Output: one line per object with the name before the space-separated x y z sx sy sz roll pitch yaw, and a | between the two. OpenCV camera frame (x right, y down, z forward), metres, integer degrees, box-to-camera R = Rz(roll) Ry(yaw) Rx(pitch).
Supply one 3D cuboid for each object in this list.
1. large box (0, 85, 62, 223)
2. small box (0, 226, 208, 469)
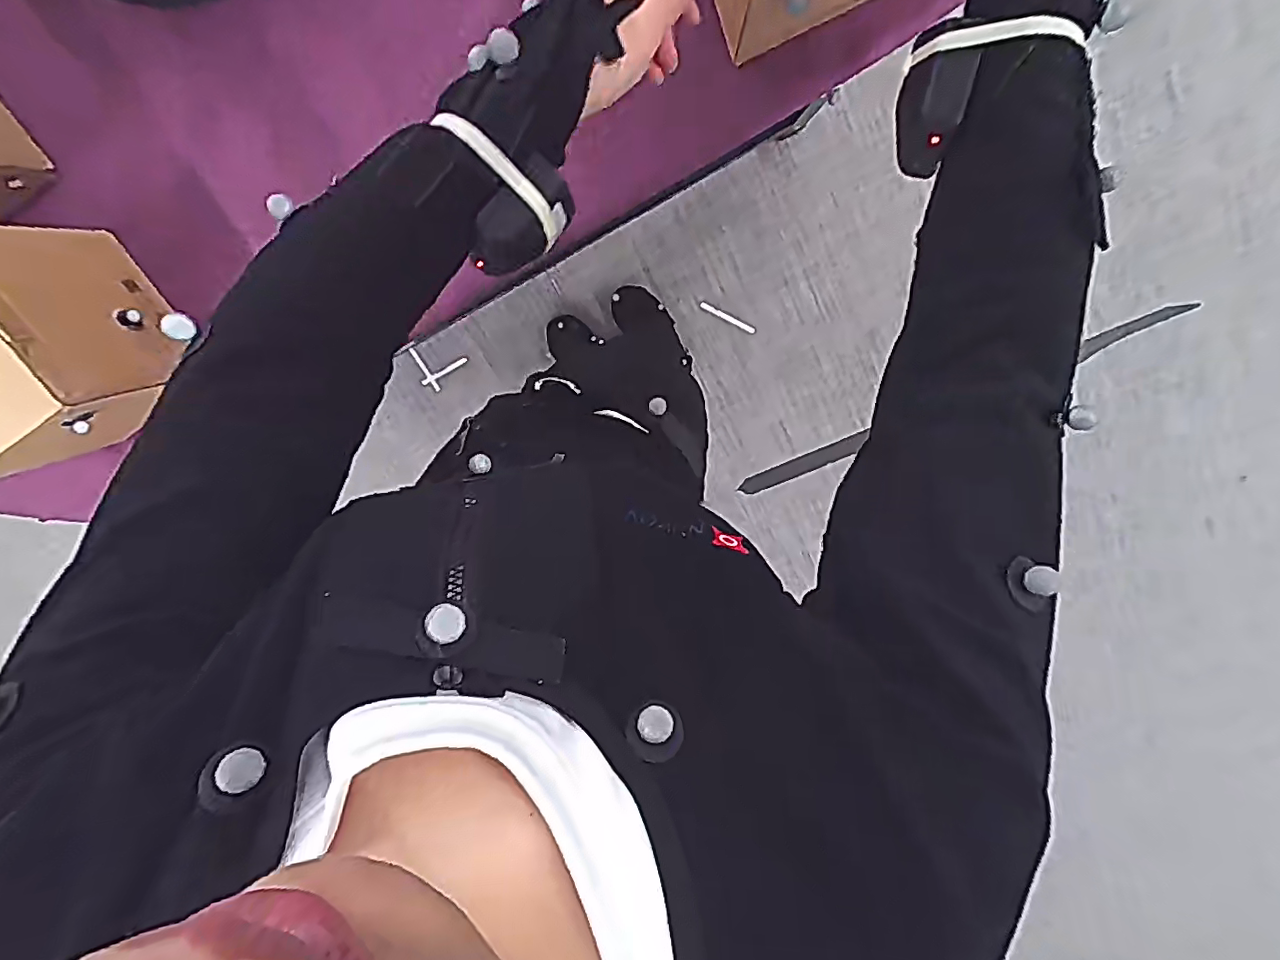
large box | -0.802 -0.351 0.369 0.320 0.320 0.408 -26 111 12
small box | -0.589 -0.124 0.526 0.179 0.176 0.168 -27 107 13
